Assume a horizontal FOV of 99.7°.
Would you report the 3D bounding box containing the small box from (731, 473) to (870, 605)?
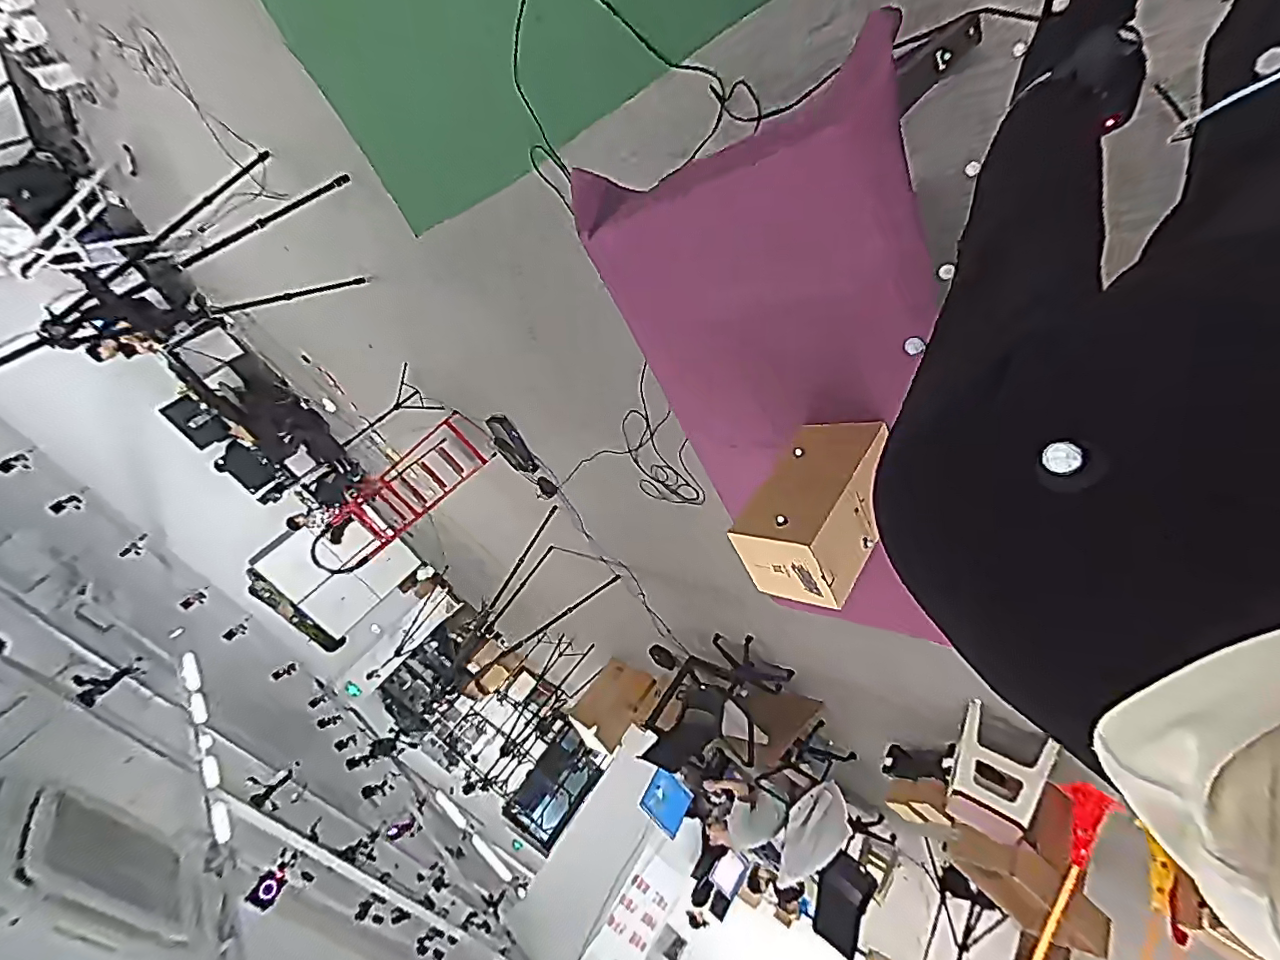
[{"bbox_3d":[0.307,0.100,1.007,0.179,0.176,0.168,5,135,49],"label":"small box"}]
